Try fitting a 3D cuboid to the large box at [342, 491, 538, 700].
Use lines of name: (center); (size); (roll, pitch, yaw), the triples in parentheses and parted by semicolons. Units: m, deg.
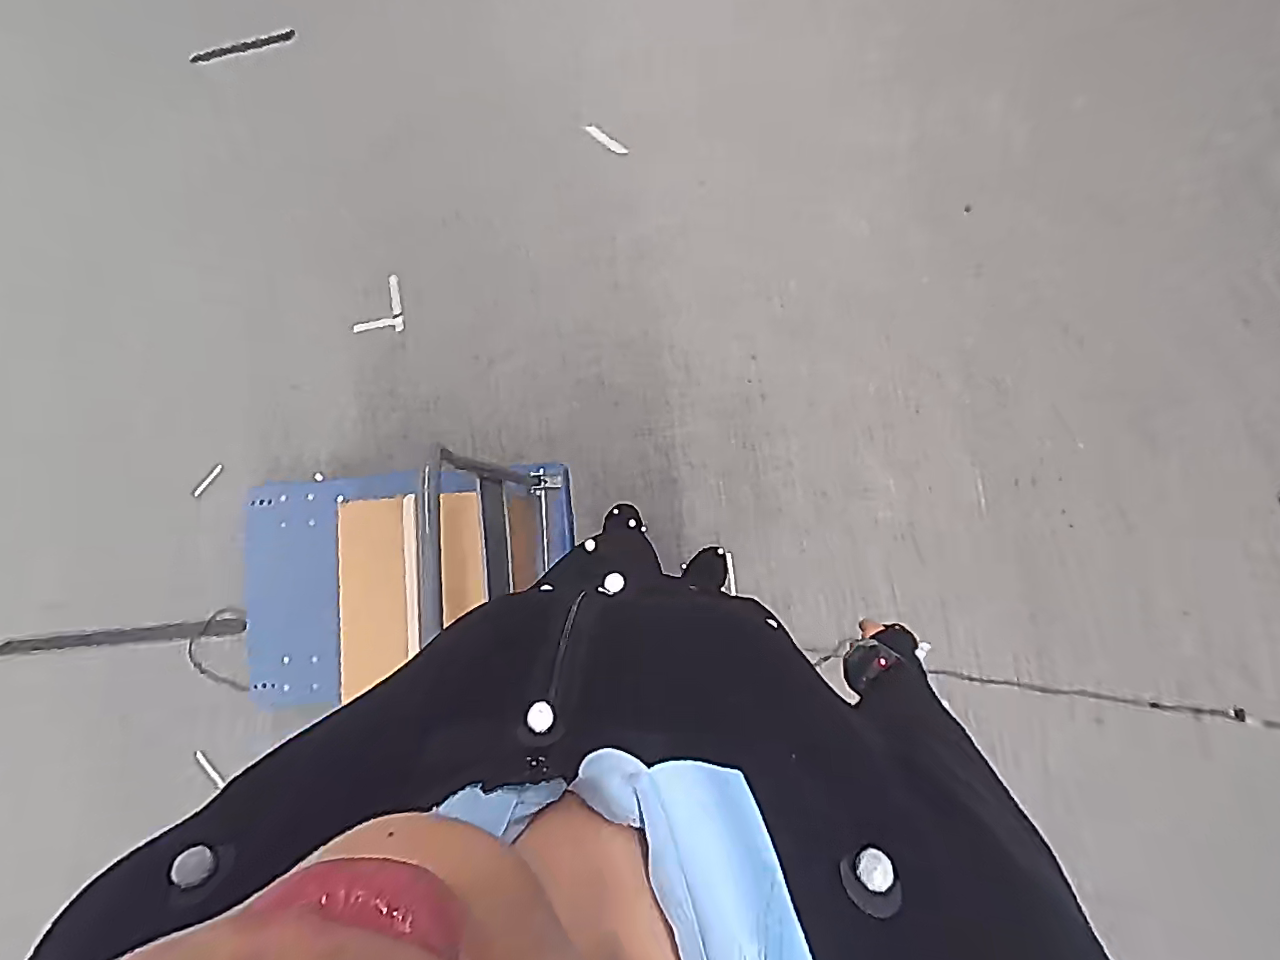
large box: (-0.432, 0.243, 1.222); (0.320, 0.320, 0.408); (-4, 85, 5)
